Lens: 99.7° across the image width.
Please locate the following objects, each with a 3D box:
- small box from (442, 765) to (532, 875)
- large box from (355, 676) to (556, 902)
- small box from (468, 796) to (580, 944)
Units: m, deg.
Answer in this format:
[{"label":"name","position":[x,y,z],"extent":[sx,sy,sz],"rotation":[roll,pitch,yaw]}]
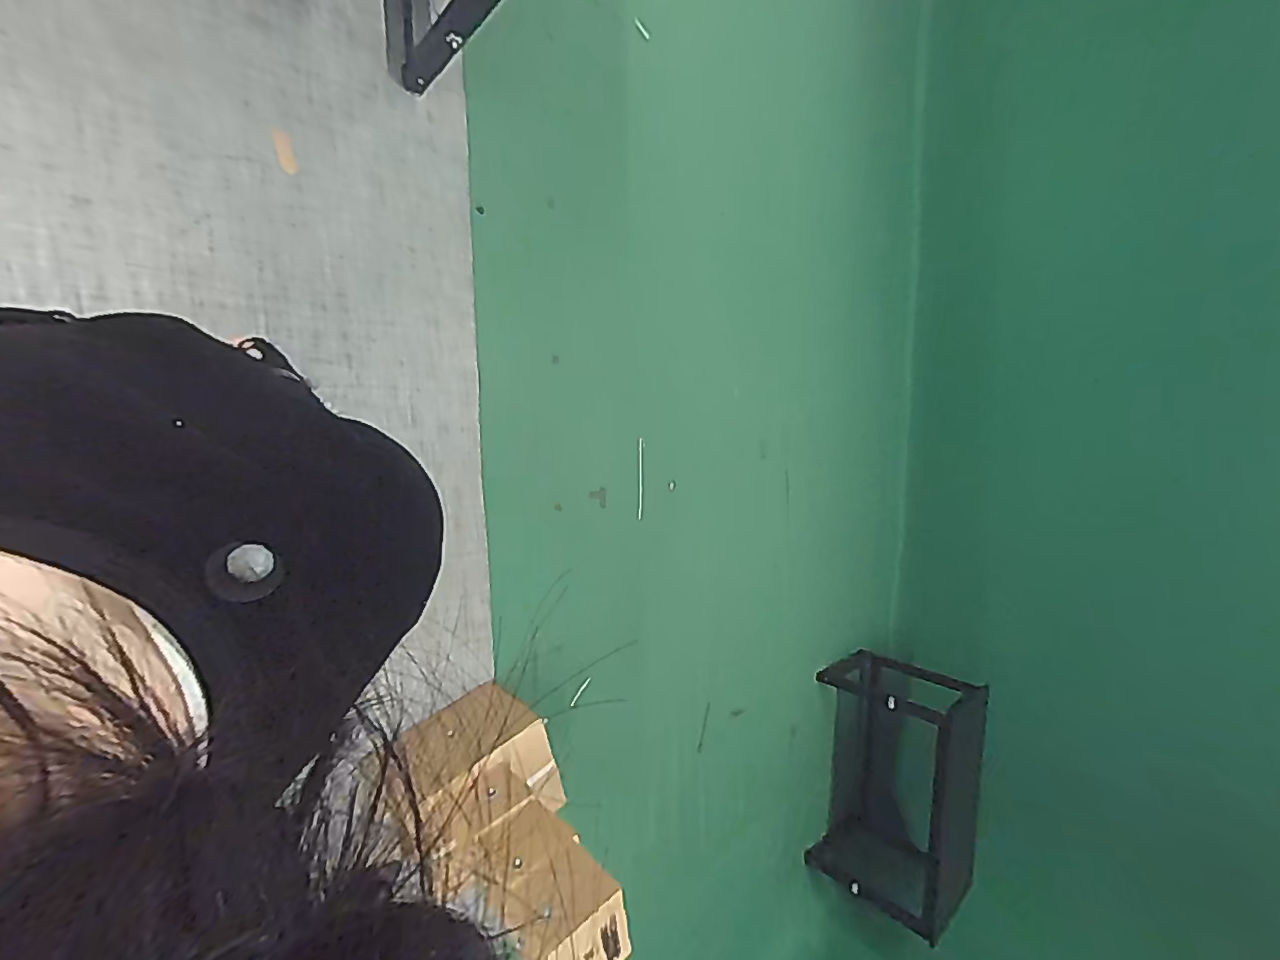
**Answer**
[{"label":"small box","position":[-0.371,0.842,1.339],"extent":[0.168,0.176,0.179],"rotation":[-18,107,-40]},{"label":"large box","position":[-0.516,0.842,1.542],"extent":[0.408,0.320,0.320],"rotation":[-26,113,-40]},{"label":"small box","position":[-0.262,0.863,1.221],"extent":[0.179,0.176,0.168],"rotation":[-16,106,-41]}]
